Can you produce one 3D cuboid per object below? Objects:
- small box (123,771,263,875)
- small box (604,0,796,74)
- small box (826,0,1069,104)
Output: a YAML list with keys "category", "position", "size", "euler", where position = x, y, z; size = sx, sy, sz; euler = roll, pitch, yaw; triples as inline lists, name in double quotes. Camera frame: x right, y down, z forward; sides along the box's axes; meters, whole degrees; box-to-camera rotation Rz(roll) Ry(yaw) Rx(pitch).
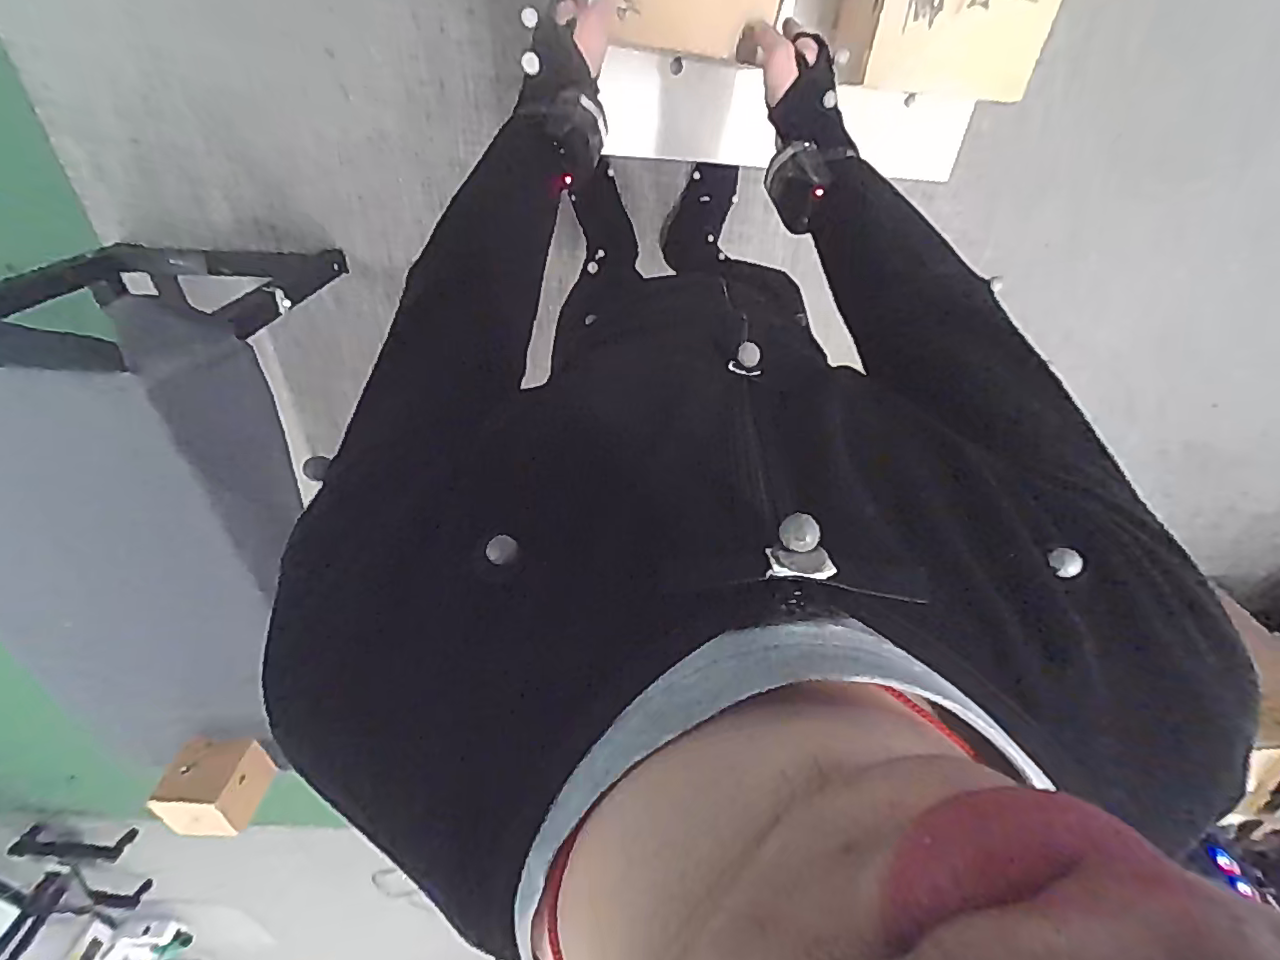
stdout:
- category: "small box"
  position: [-1.062, 0.823, 1.304]
  size: [0.168, 0.176, 0.179]
  euler: [1, 126, -2]
- category: "small box"
  position: [0.060, -0.532, 0.552]
  size: [0.179, 0.176, 0.168]
  euler: [5, 125, -8]
- category: "small box"
  position: [0.323, -0.510, 0.579]
  size: [0.179, 0.176, 0.168]
  euler: [2, 126, -5]
